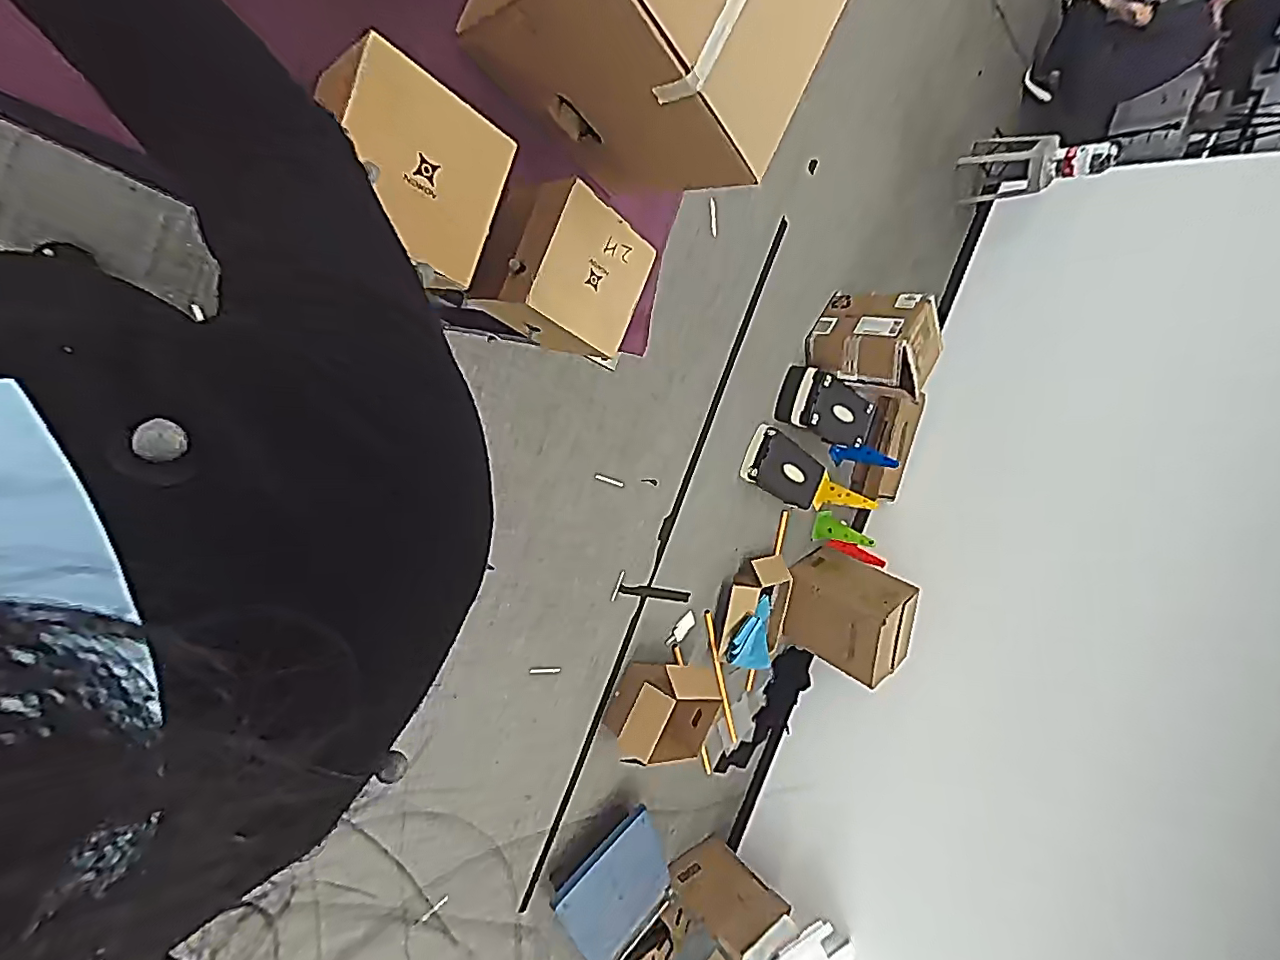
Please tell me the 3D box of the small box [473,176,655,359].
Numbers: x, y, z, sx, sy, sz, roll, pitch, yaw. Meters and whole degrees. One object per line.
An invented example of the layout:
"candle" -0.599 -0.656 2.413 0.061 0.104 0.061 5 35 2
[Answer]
"small box" -0.114 -0.296 0.779 0.168 0.176 0.179 24 87 -47

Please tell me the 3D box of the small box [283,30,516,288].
"small box" -0.274 -0.338 0.609 0.168 0.176 0.179 17 95 -47
